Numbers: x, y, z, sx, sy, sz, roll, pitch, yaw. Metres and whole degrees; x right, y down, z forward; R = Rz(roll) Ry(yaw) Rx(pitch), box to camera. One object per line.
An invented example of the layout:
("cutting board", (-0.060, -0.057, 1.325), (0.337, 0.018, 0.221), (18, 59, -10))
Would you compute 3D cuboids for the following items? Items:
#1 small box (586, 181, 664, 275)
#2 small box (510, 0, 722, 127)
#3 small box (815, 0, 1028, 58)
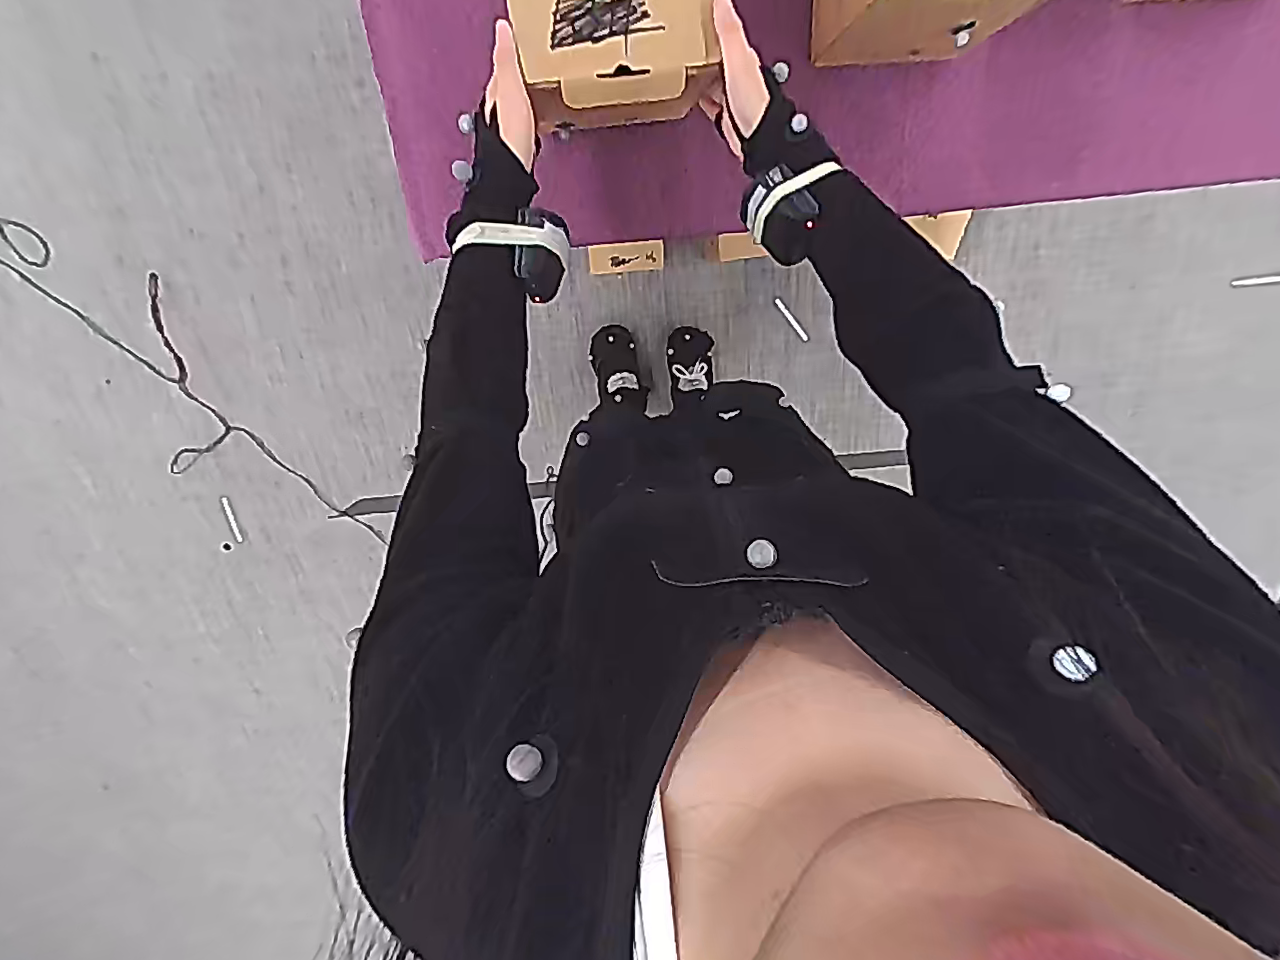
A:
("small box", (-0.037, -0.567, 1.234), (0.168, 0.176, 0.179), (-4, 110, -2))
("small box", (-0.029, -0.430, 0.476), (0.168, 0.176, 0.179), (-8, 112, -4))
("small box", (0.269, -0.514, 0.491), (0.168, 0.176, 0.179), (-5, 110, -3))
